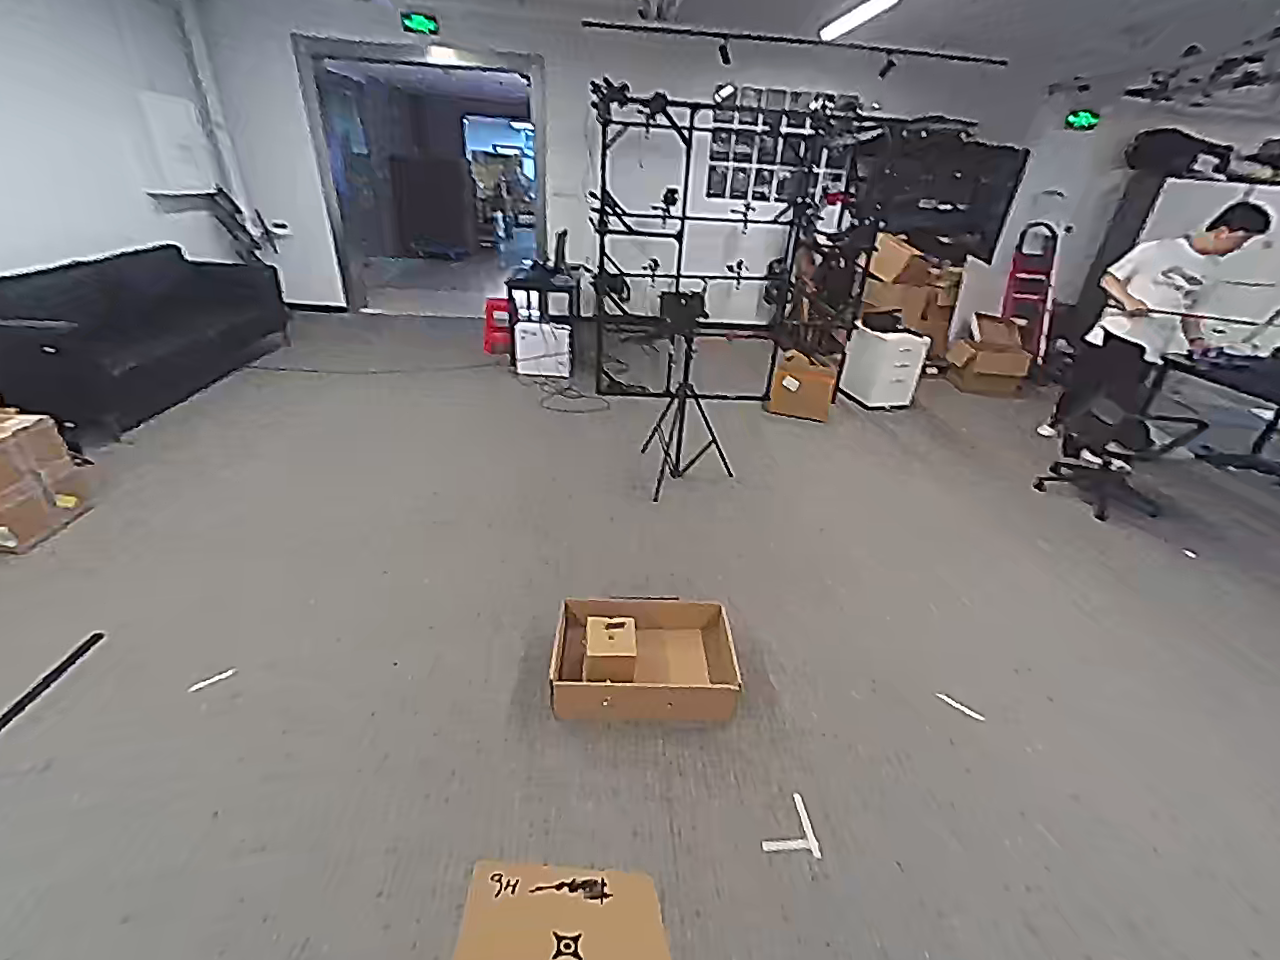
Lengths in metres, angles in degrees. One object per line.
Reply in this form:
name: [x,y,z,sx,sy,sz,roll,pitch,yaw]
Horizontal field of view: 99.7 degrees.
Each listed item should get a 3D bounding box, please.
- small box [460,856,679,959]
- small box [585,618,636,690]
small box: [-0.065,0.433,0.406,0.168,0.176,0.179,12,3,-8]
small box: [-0.106,0.602,1.876,0.168,0.176,0.179,2,29,-6]
